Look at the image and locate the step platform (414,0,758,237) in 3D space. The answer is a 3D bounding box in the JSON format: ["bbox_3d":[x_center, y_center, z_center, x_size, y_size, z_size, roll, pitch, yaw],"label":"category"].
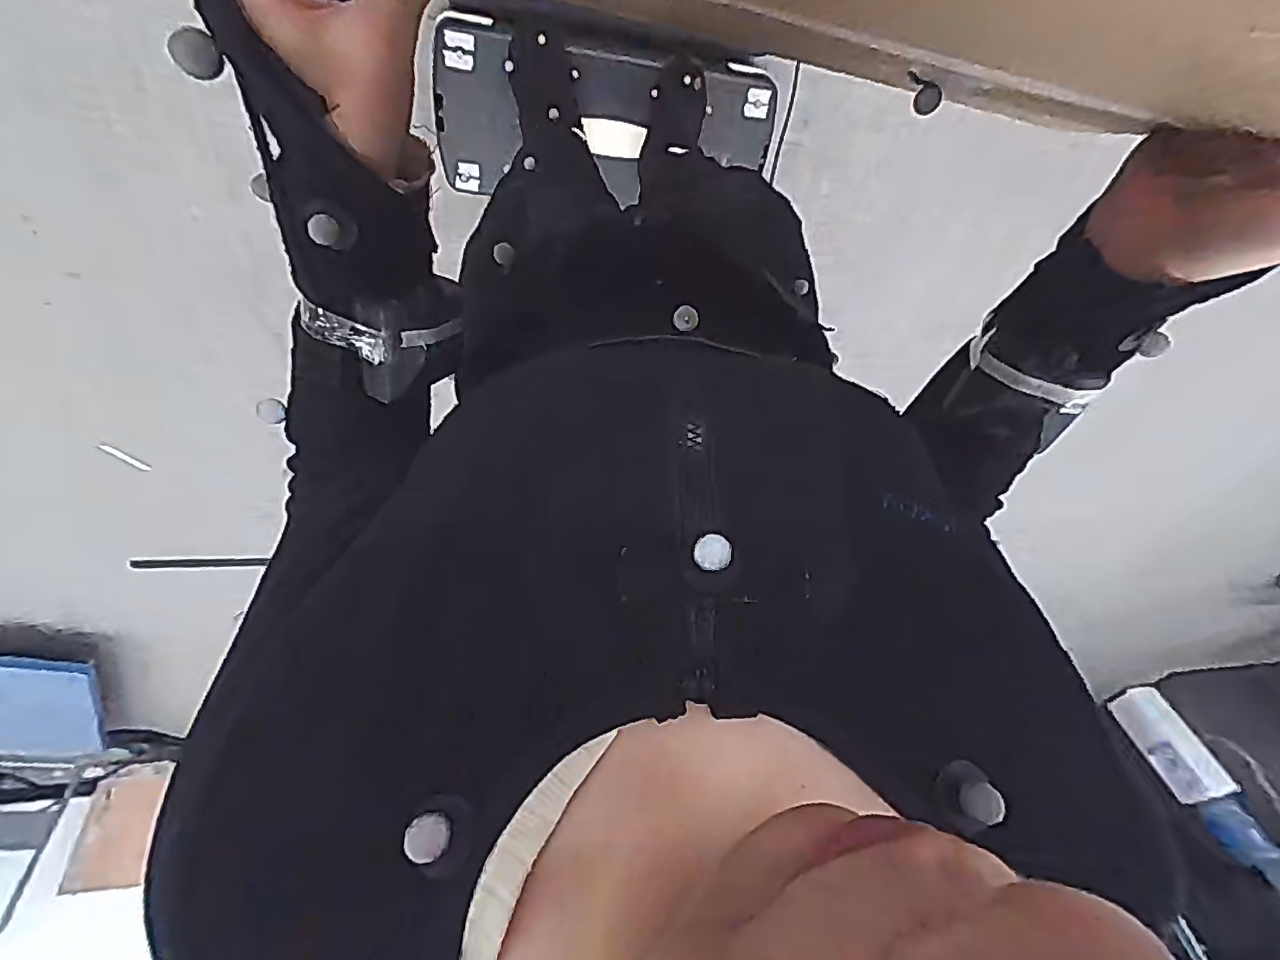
[{"bbox_3d":[-0.106,-0.733,1.133,0.684,0.204,0.286,5,132,-14],"label":"step platform"}]

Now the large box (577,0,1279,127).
[{"bbox_3d":[0.098,-0.307,0.124,0.408,0.320,0.320,8,126,-6],"label":"large box"}]
